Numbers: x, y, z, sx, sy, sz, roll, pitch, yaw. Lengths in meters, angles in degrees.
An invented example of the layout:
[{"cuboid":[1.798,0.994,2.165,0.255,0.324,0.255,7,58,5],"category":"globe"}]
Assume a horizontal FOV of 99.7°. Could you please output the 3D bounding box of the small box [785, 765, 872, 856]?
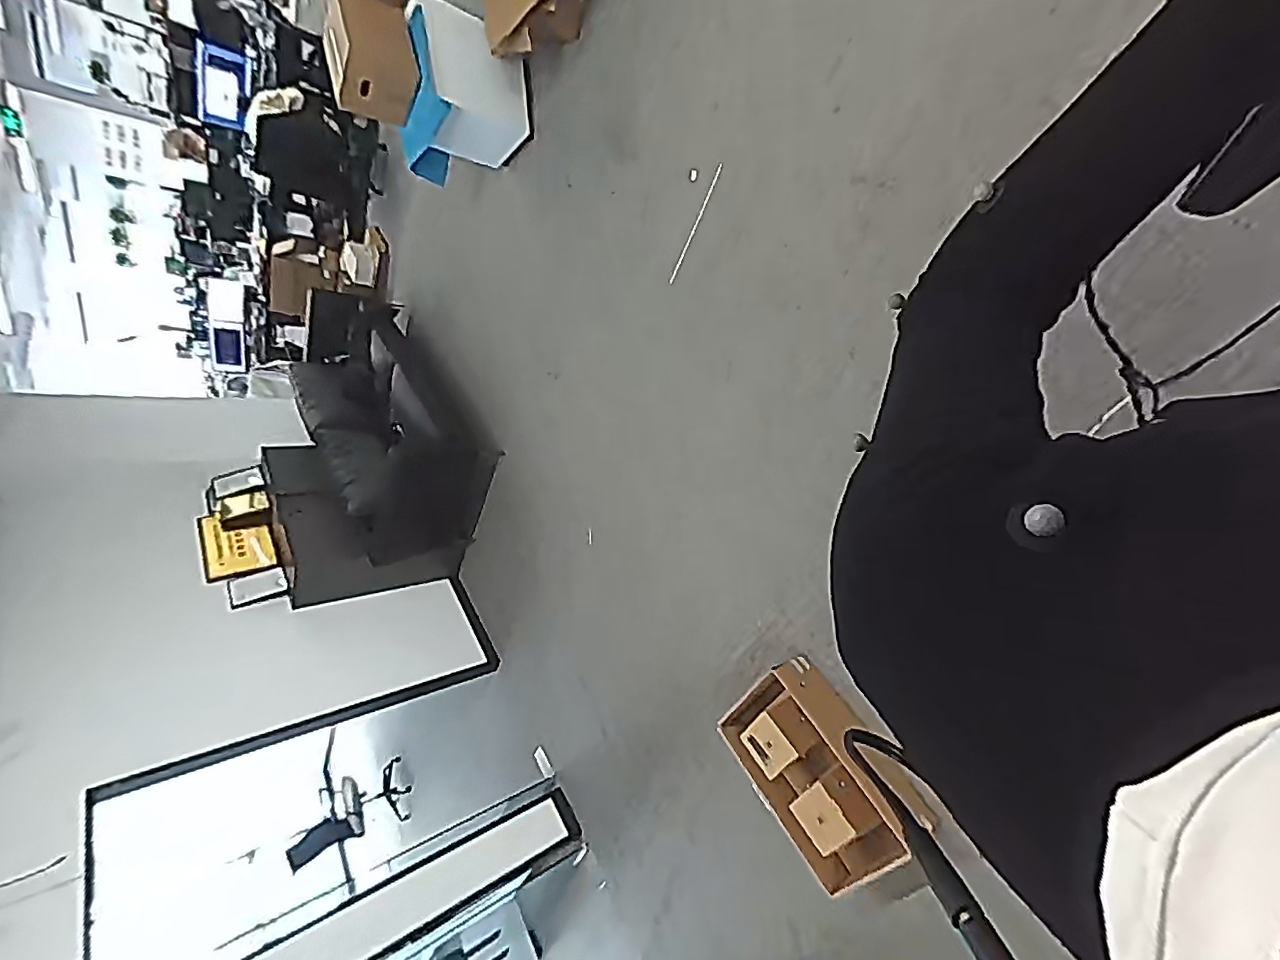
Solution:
[{"cuboid":[0.610,1.050,1.731,0.168,0.176,0.179,52,129,34],"category":"small box"}]
